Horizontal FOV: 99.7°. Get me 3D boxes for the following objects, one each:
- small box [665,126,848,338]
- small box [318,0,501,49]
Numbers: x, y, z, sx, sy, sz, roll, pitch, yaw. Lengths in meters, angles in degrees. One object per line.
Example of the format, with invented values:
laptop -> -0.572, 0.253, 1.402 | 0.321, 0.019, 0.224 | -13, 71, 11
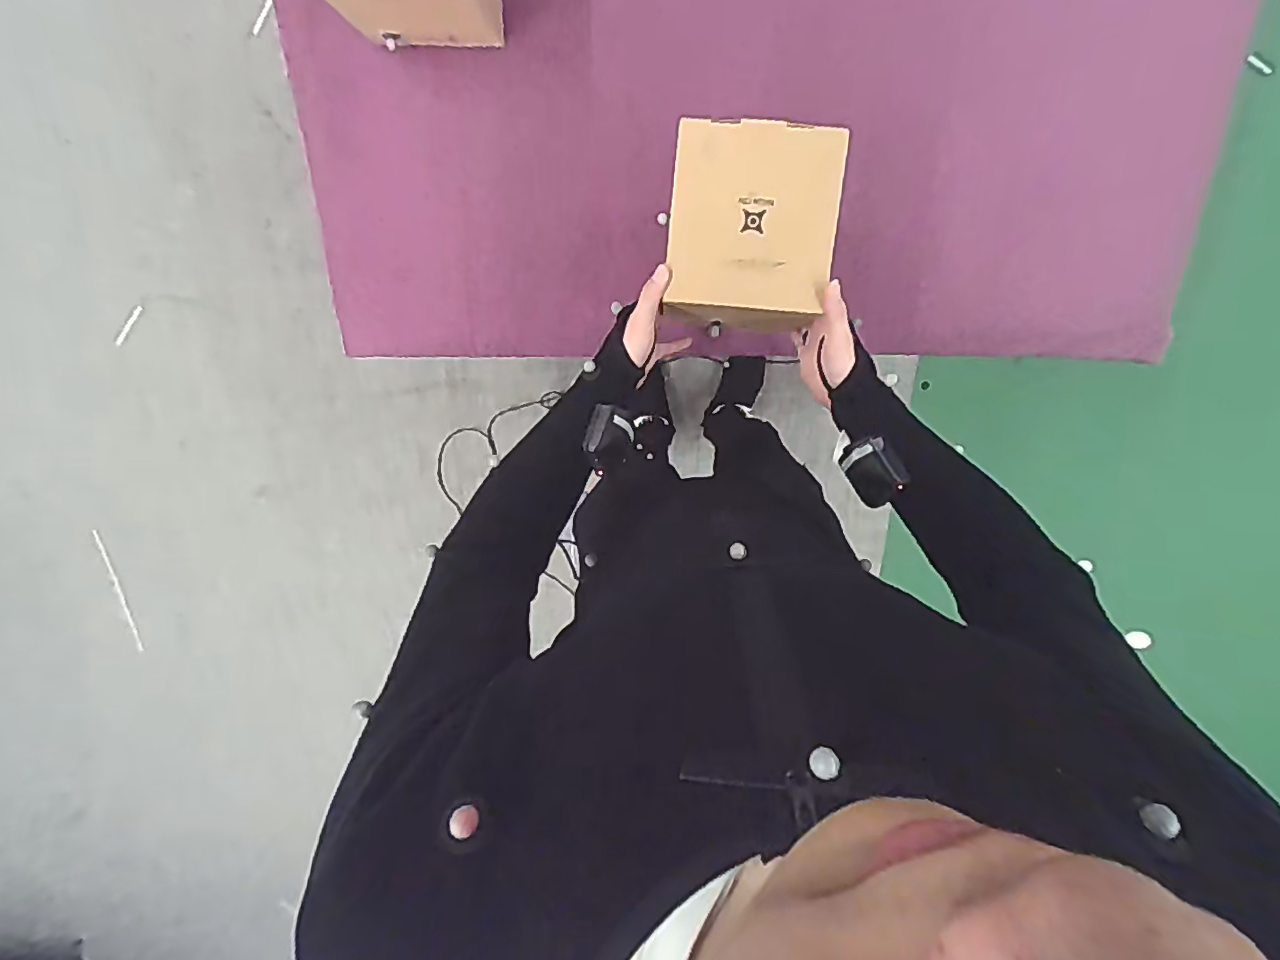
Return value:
small box -> 0.118, -0.266, 0.619 | 0.168, 0.176, 0.179 | 6, 100, 2
small box -> -0.249, -0.588, 0.570 | 0.168, 0.176, 0.179 | 1, 111, -1
